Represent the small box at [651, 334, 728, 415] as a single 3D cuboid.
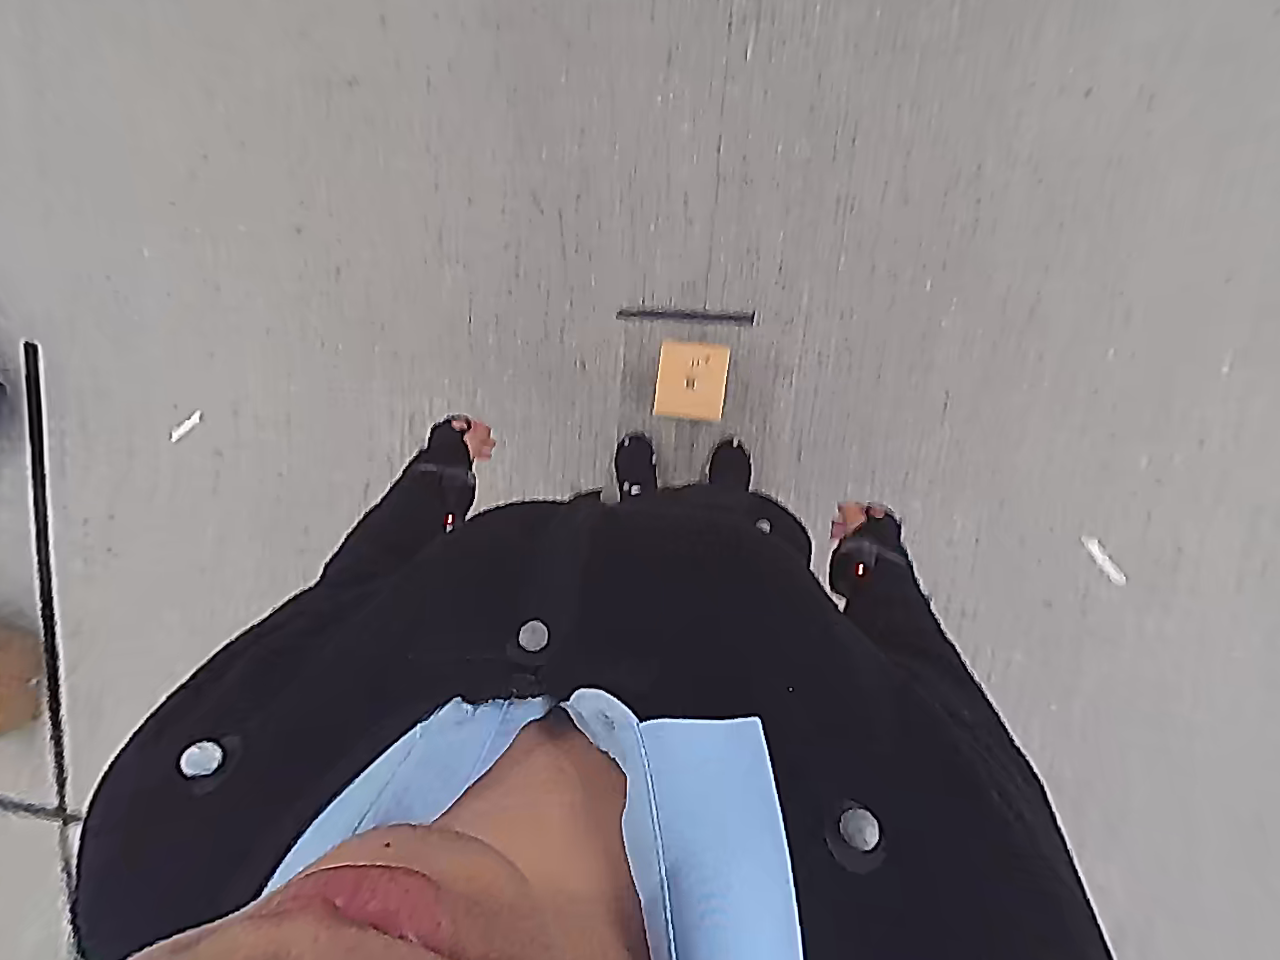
[{"bbox_3d":[0.127,-0.263,1.365,0.168,0.176,0.179,8,98,5],"label":"small box"}]
